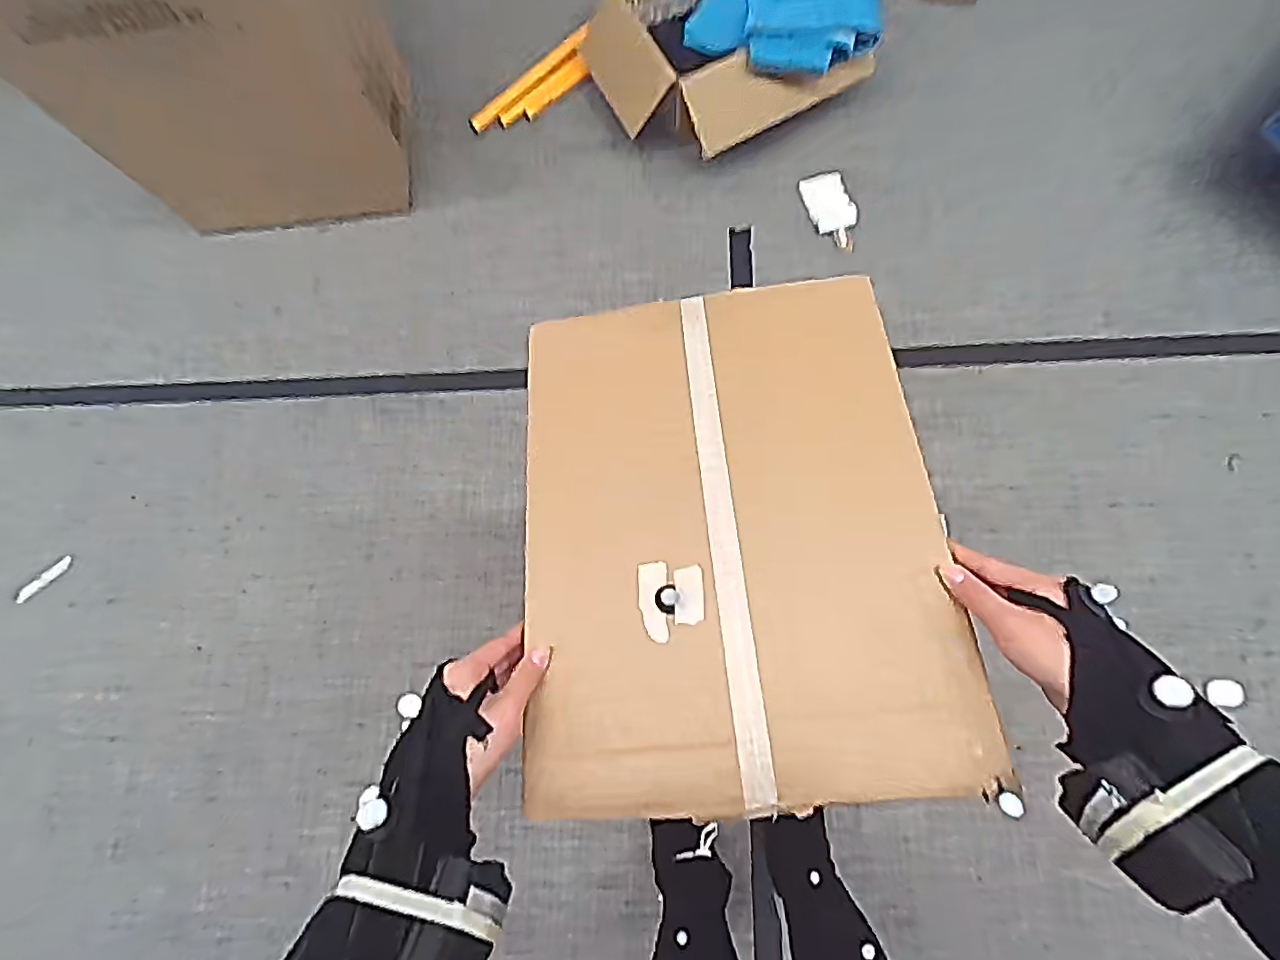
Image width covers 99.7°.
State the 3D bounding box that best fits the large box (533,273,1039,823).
[{"bbox_3d":[0.090,0.072,0.547,0.320,0.320,0.408,-7,68,6],"label":"large box"}]
